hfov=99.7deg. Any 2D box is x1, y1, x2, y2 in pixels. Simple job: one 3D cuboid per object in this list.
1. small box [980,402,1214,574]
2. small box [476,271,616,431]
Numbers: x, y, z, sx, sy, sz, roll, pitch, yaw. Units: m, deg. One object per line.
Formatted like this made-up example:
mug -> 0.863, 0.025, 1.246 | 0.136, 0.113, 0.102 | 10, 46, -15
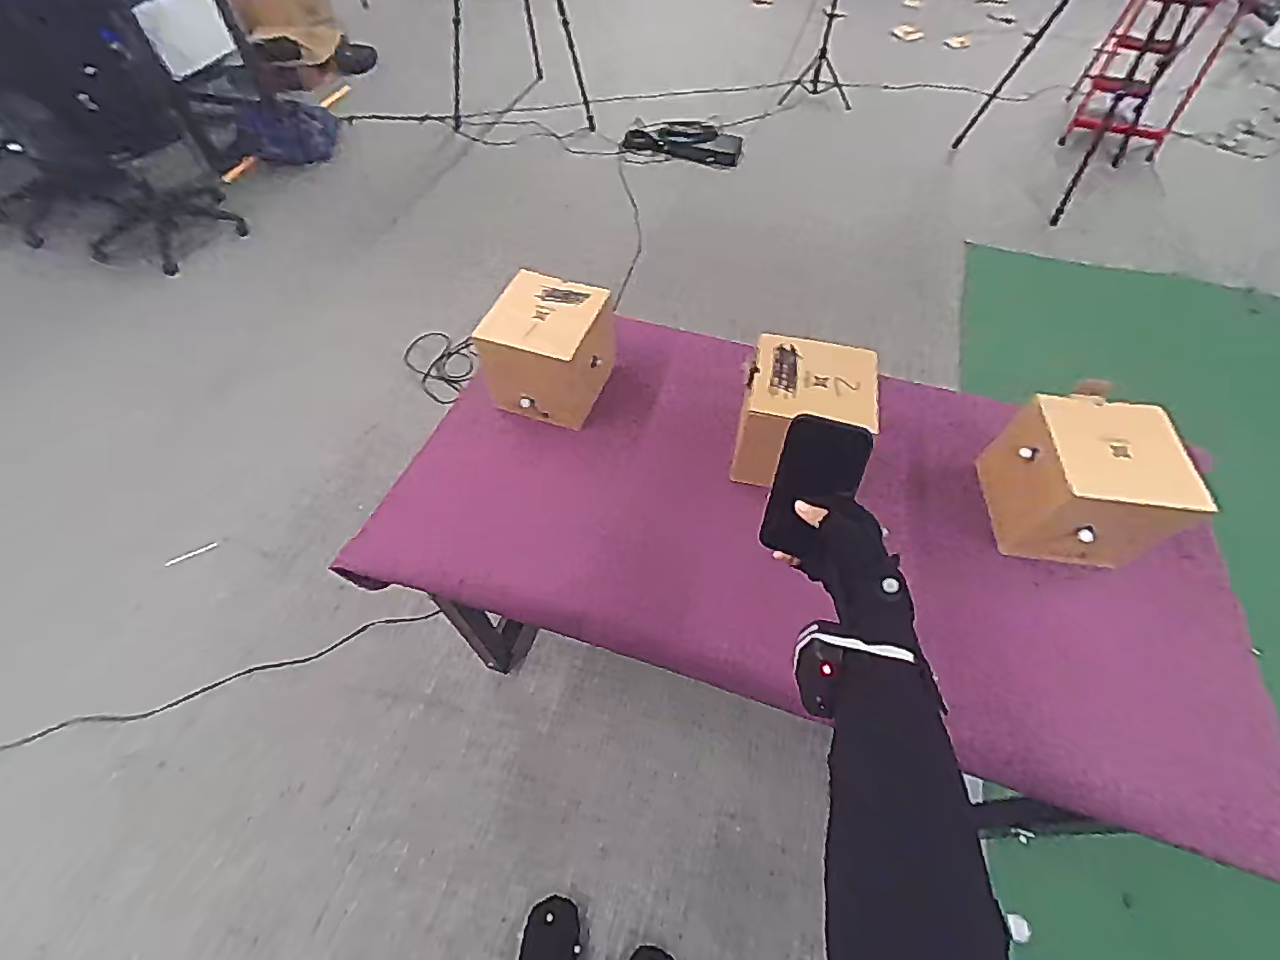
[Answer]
small box -> 0.619, 0.016, 0.765 | 0.168, 0.176, 0.179 | 7, 54, 5
small box -> -0.147, -0.216, 0.913 | 0.168, 0.176, 0.179 | 17, 58, 11
